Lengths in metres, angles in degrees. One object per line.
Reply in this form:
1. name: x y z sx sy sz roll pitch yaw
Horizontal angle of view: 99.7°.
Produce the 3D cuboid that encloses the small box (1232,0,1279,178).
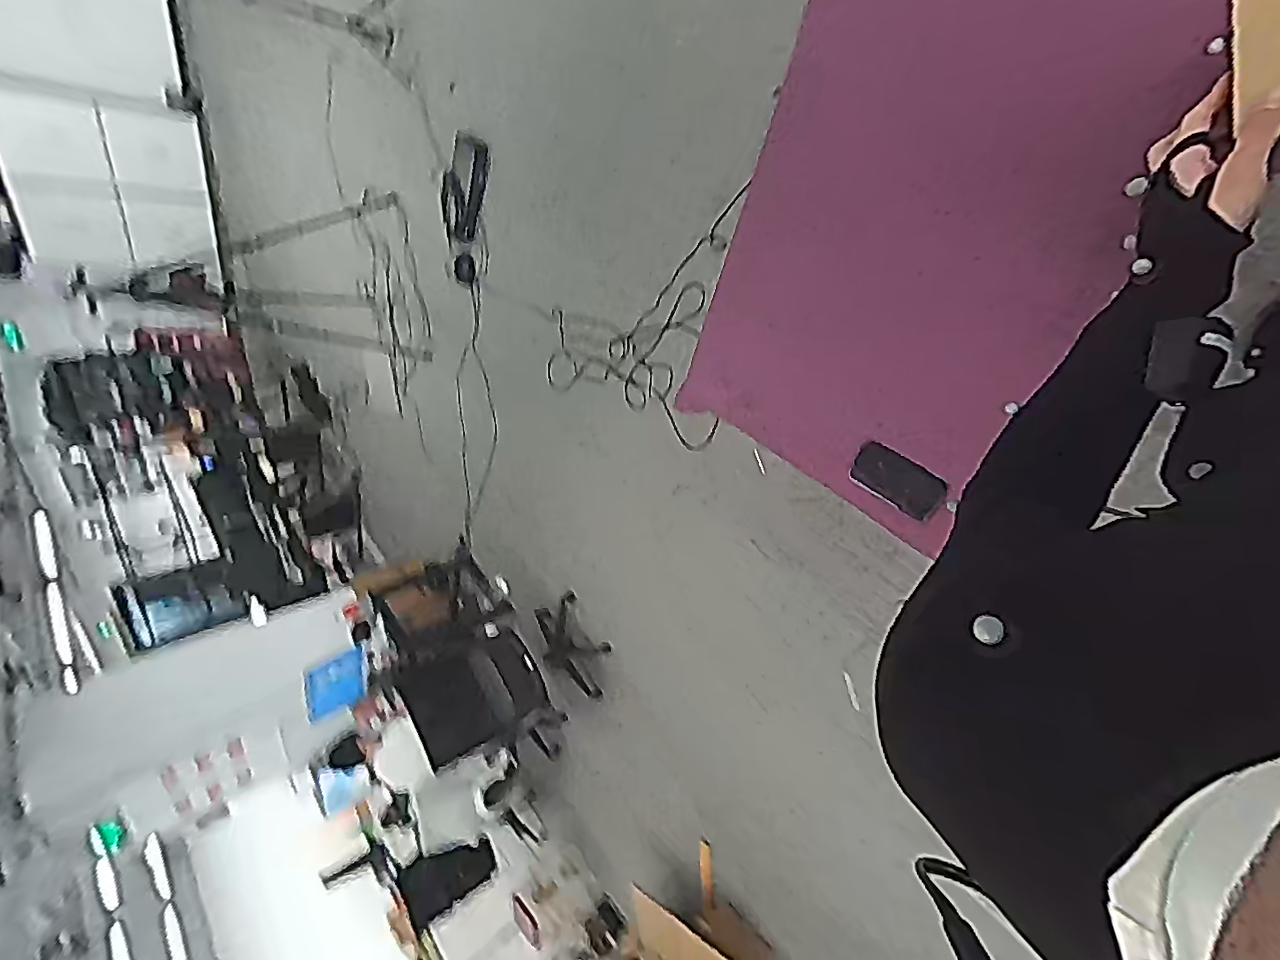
1. small box: 0.577 -0.368 0.411 0.168 0.176 0.179 1 98 48
